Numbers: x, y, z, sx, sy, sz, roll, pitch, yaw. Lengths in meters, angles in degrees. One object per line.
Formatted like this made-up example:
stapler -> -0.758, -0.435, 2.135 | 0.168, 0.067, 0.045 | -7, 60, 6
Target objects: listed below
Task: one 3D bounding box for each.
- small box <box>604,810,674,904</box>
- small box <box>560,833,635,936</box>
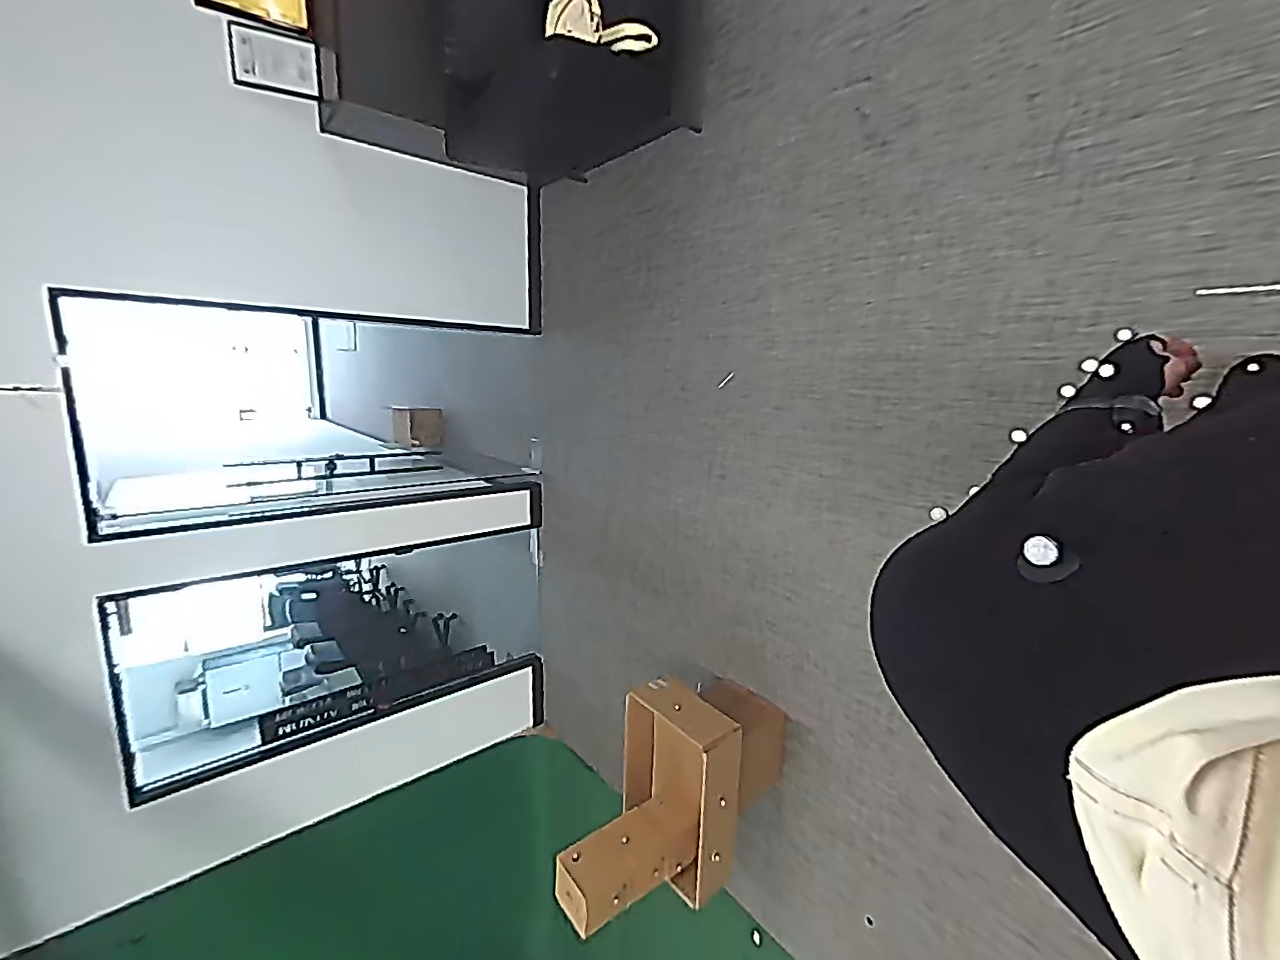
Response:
small box -> -0.008, 1.257, 1.827 | 0.179, 0.176, 0.168 | 18, 110, 49
small box -> -0.137, 1.275, 1.726 | 0.179, 0.176, 0.168 | 21, 113, 48
